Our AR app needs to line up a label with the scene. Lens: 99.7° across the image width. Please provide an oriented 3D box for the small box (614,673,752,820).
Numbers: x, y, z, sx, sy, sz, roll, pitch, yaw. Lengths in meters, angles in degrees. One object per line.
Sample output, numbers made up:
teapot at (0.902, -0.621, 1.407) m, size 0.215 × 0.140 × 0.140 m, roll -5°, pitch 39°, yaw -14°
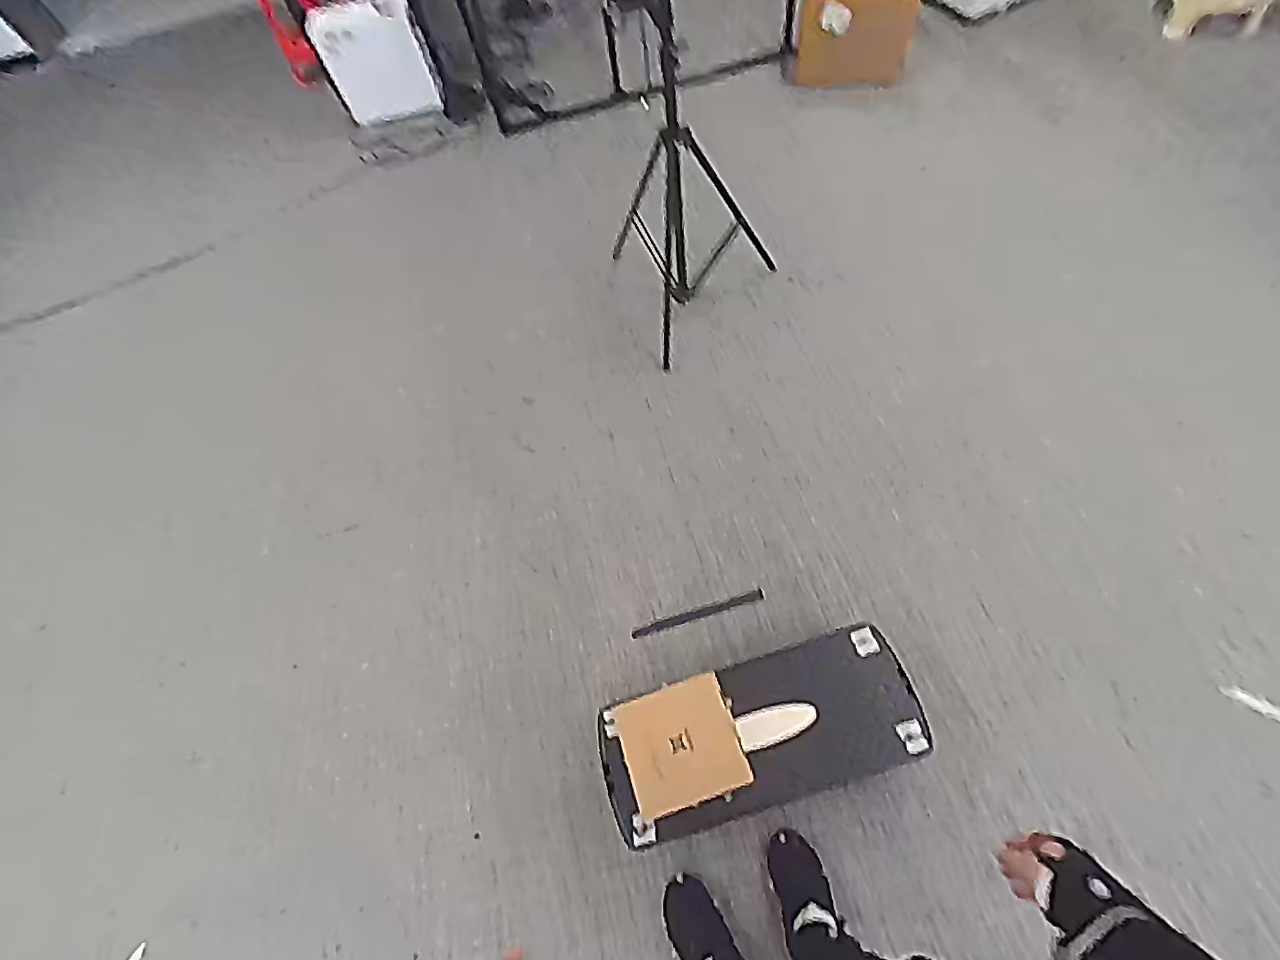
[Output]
small box at (0.071, 0.442, 0.903) m, size 0.179 × 0.176 × 0.168 m, roll -20°, pitch 60°, yaw -3°
